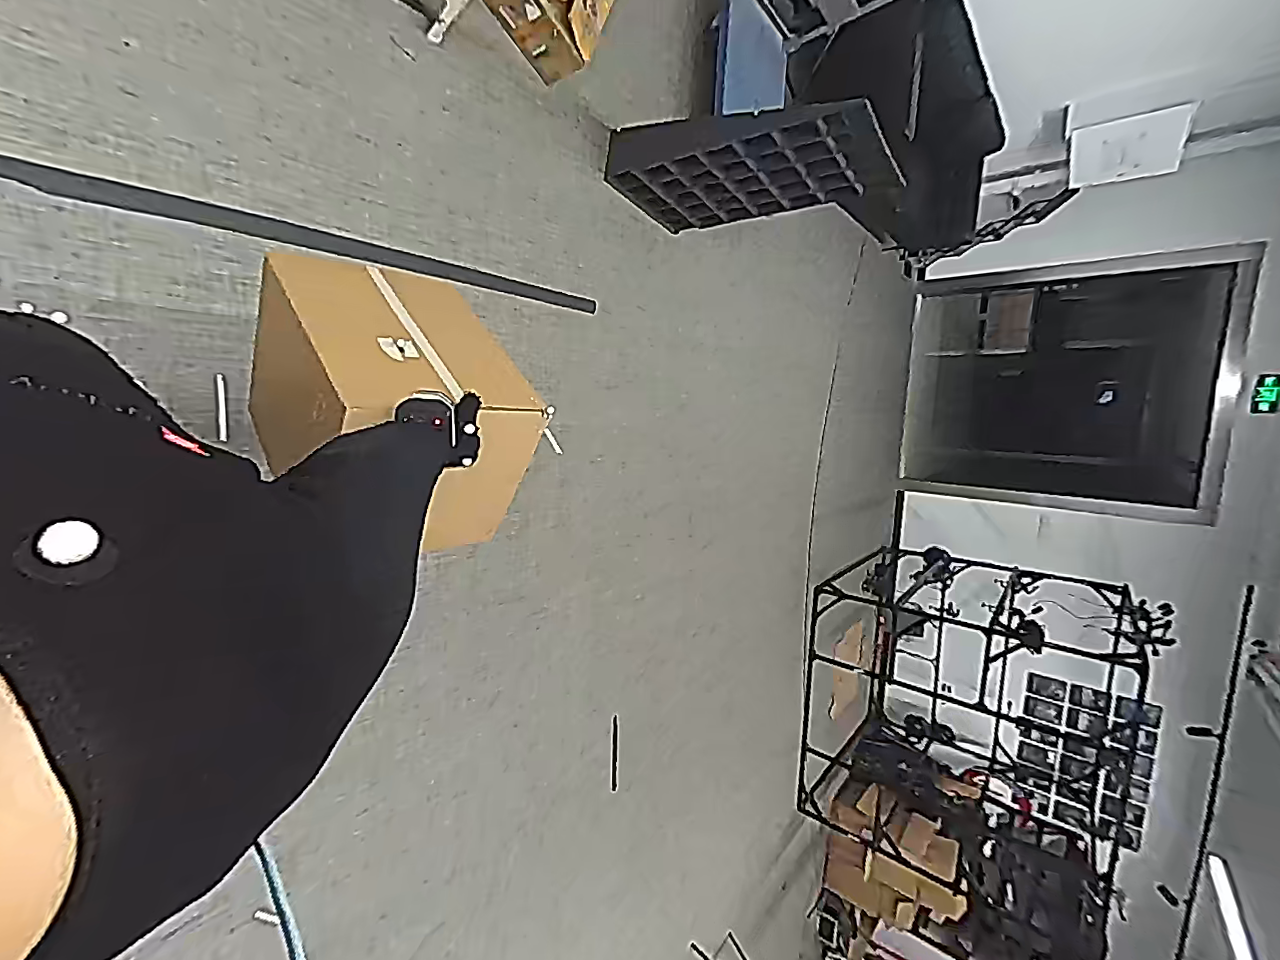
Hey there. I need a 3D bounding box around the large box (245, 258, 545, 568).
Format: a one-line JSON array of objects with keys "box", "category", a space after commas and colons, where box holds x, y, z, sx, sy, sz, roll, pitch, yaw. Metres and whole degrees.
[{"box": [-0.442, -0.117, 0.946, 0.320, 0.408, 0.320, -8, 139, -47], "category": "large box"}]
